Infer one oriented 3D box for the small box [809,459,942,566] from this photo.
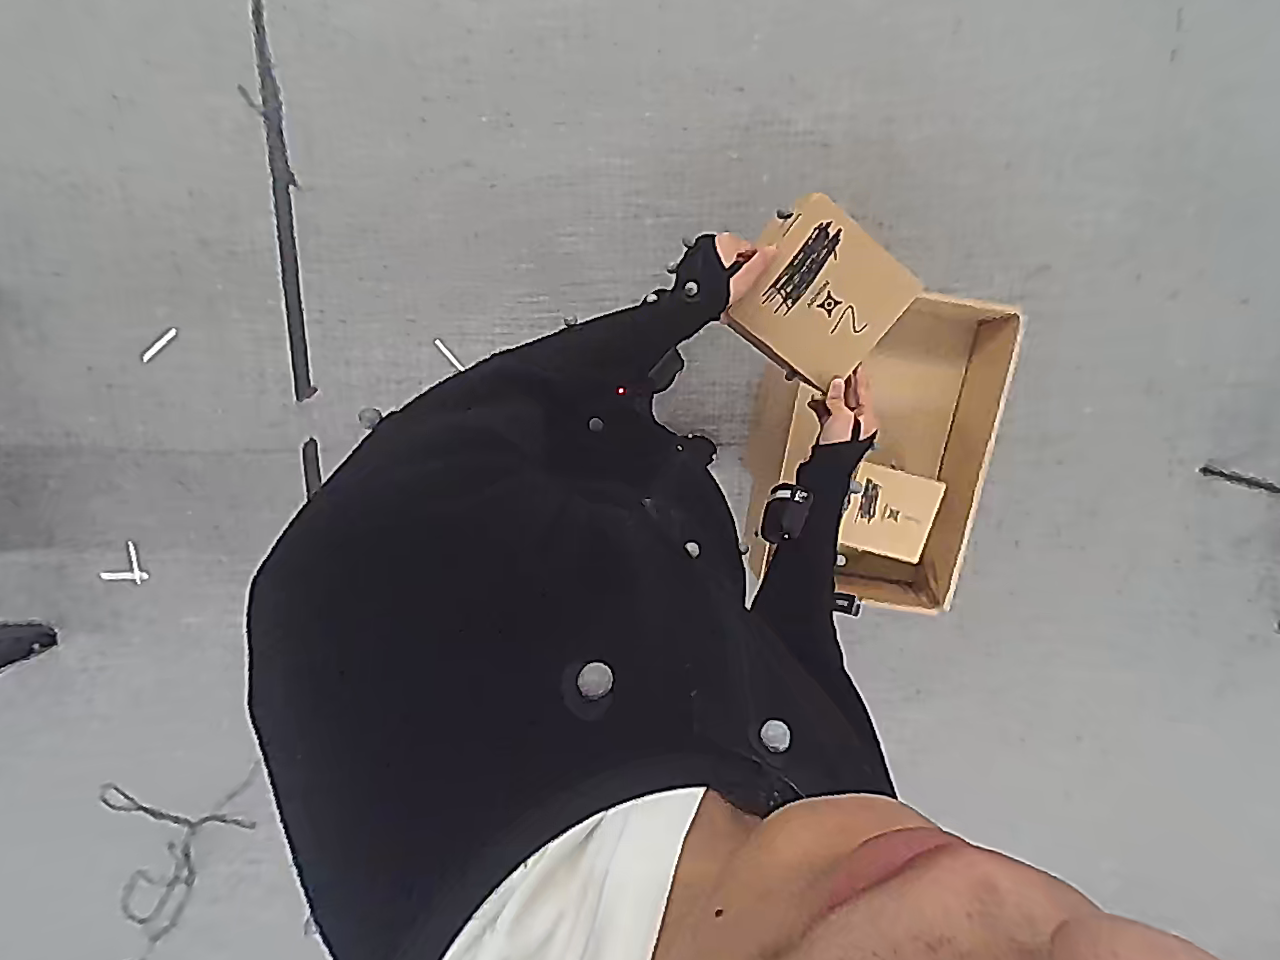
[{"bbox_3d":[0.476,0.058,1.124,0.179,0.176,0.168,15,100,-3],"label":"small box"}]
